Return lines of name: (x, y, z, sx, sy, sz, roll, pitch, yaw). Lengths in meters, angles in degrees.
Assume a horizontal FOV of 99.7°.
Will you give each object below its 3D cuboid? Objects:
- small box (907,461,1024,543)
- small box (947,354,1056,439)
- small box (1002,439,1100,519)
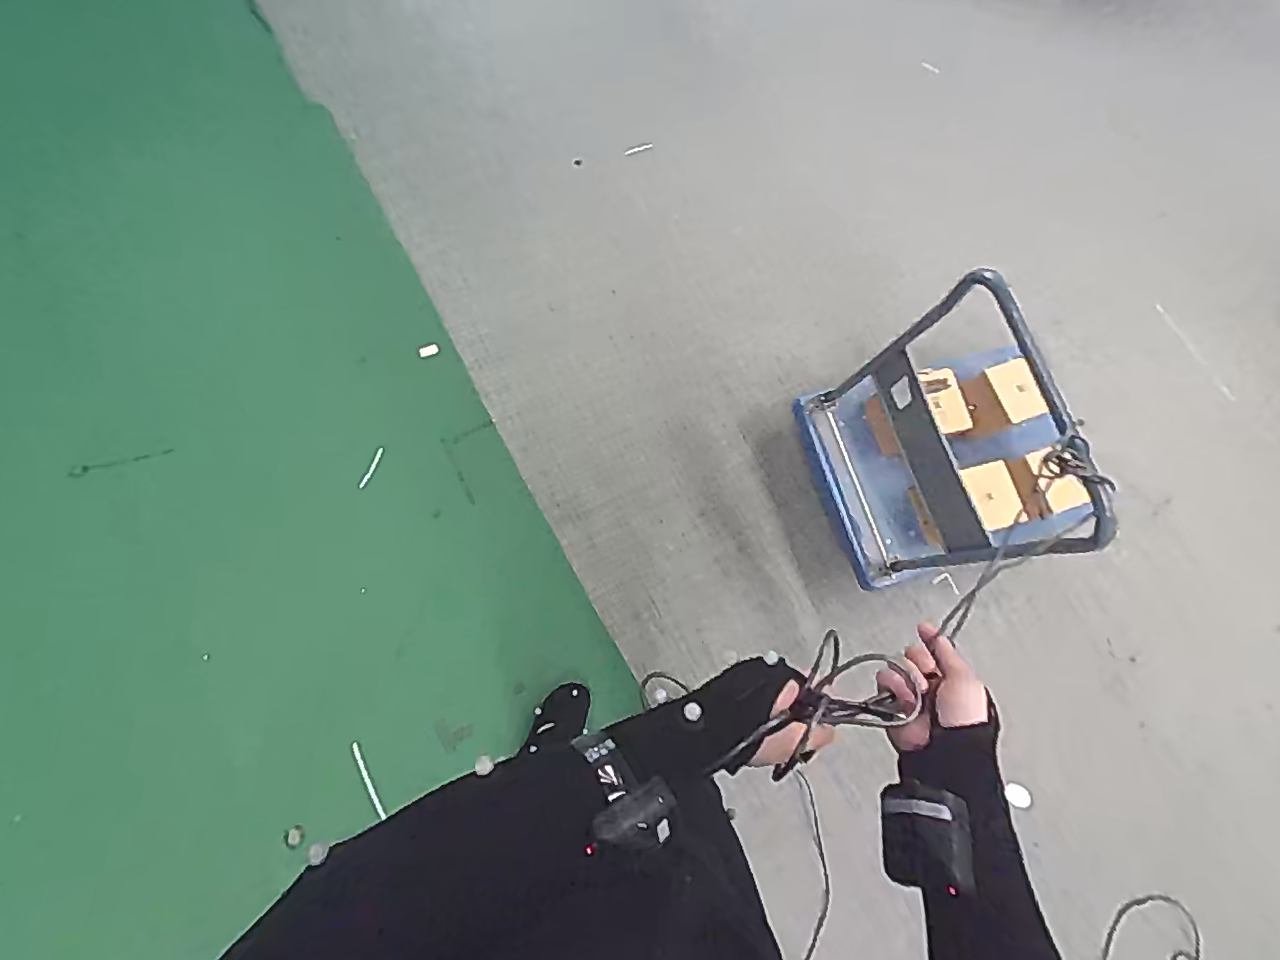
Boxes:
small box: (0.858, 0.062, 1.440, 0.179, 0.176, 0.168, -13, 78, -13)
small box: (1.017, -0.232, 1.546, 0.179, 0.176, 0.168, -18, 80, -14)
small box: (1.093, 0.007, 1.494, 0.179, 0.176, 0.168, -16, 78, -13)
